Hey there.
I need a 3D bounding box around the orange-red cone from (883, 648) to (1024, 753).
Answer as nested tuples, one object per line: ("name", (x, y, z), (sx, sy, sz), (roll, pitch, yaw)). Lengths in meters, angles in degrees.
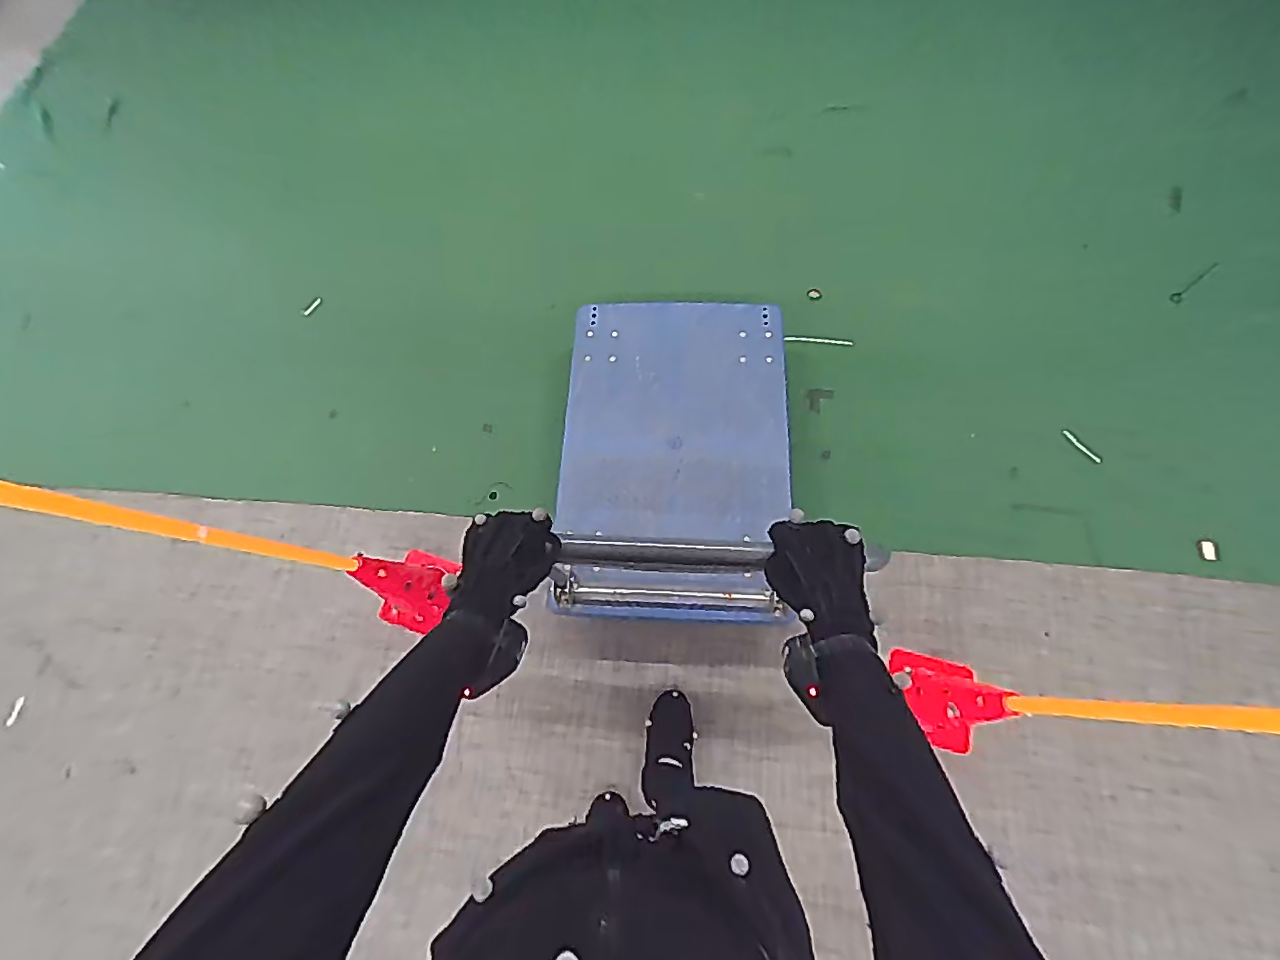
("orange-red cone", (0.675, 0.458, 1.118), (0.198, 0.360, 0.199), (15, 72, 10))
